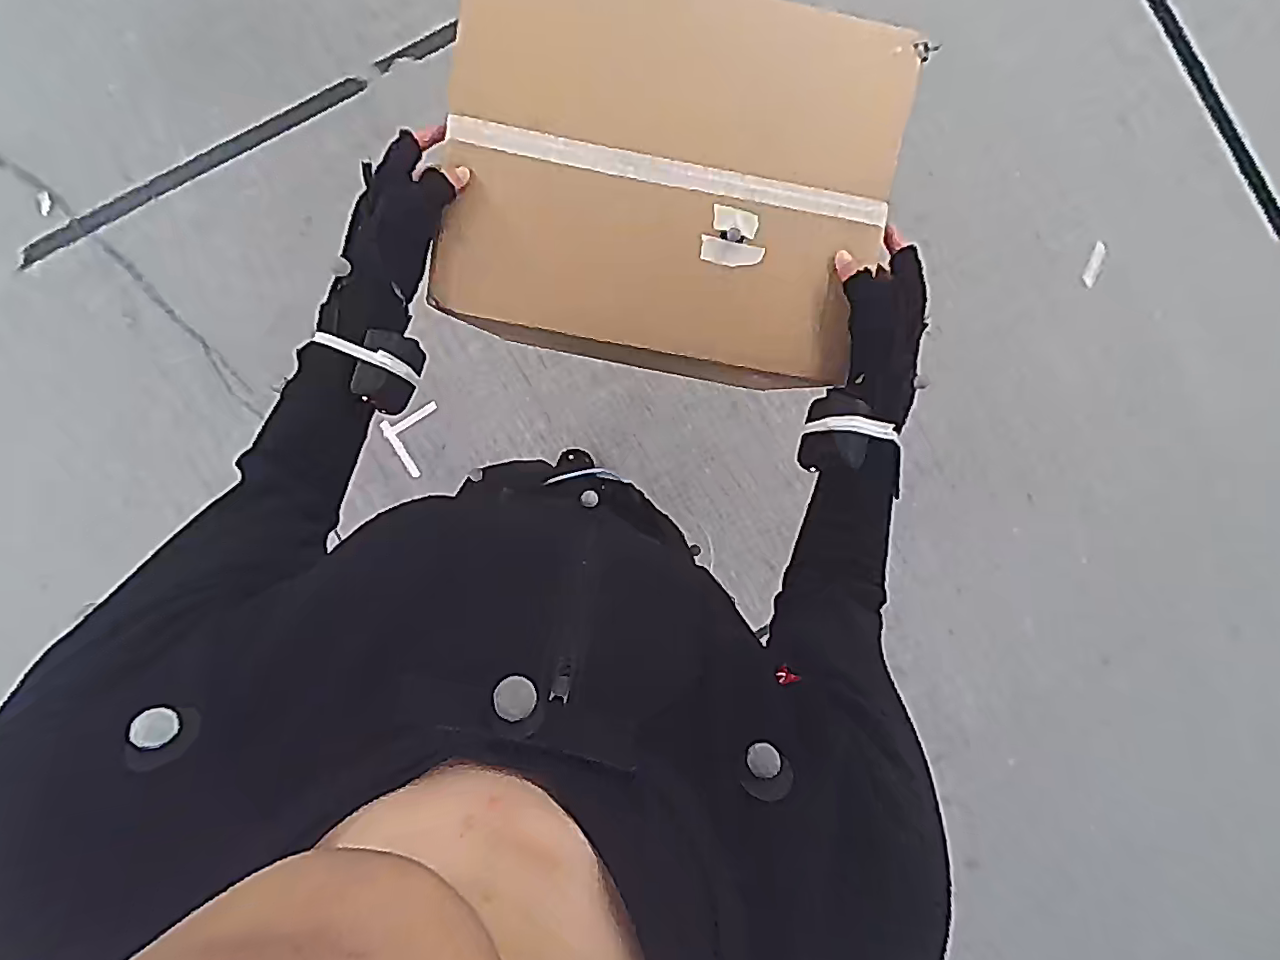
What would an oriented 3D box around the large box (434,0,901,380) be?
[{"bbox_3d":[0.014,-0.308,0.649,0.408,0.320,0.320,9,99,-4],"label":"large box"}]
